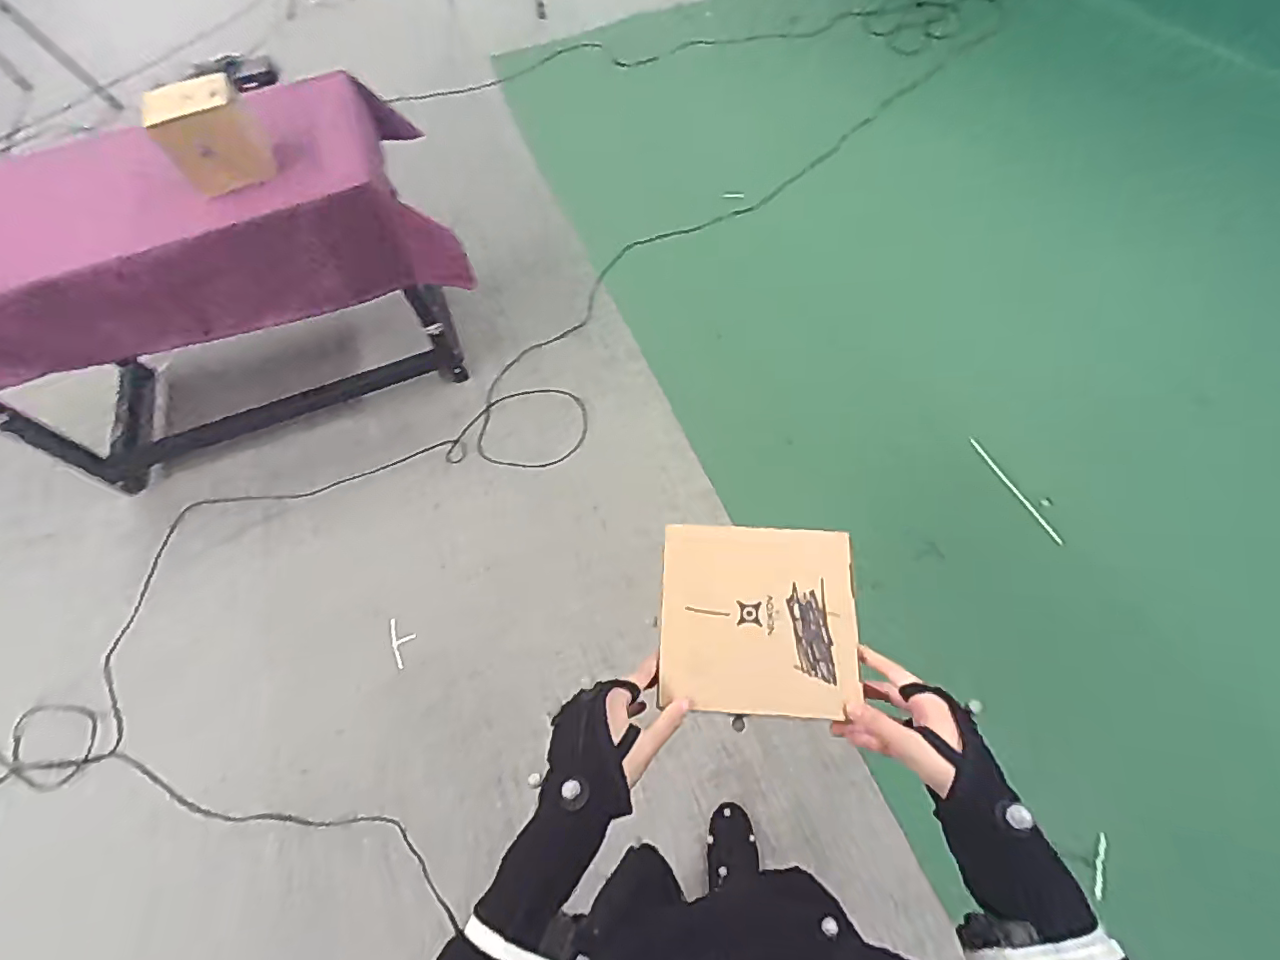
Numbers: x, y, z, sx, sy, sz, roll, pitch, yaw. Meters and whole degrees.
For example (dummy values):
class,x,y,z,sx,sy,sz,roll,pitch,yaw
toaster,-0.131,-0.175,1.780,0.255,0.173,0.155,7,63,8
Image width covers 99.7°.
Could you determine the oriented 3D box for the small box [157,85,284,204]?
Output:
class,x,y,z,sx,sy,sz,roll,pitch,yaw
small box,-0.996,-0.797,1.294,0.179,0.176,0.168,-23,61,-7
